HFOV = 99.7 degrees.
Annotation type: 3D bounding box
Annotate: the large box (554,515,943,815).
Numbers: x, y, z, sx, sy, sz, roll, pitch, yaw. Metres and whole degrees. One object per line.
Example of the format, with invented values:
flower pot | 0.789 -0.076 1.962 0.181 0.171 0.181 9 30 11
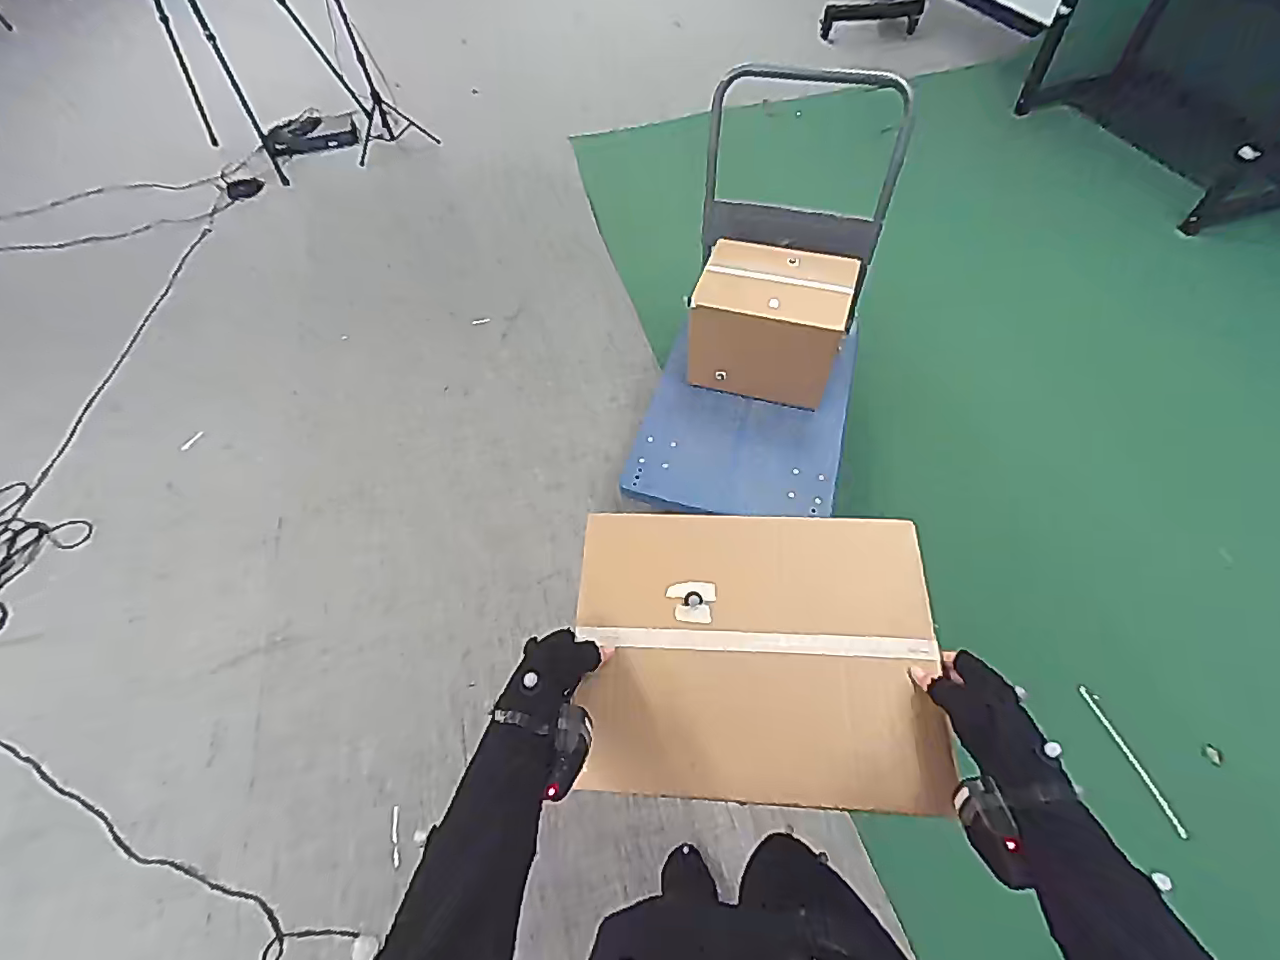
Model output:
large box | 0.129 0.246 0.749 0.408 0.320 0.320 1 66 7
